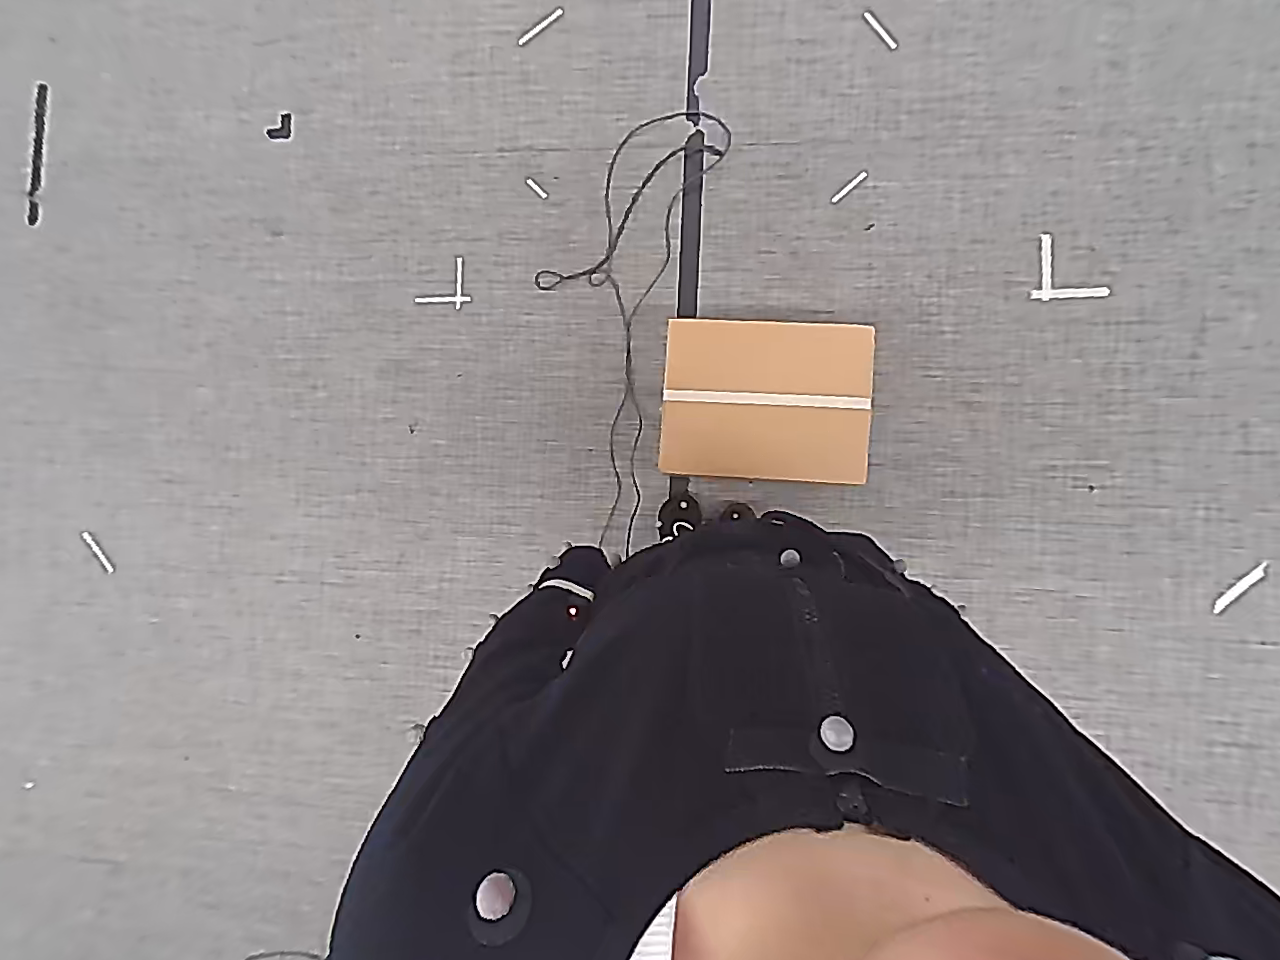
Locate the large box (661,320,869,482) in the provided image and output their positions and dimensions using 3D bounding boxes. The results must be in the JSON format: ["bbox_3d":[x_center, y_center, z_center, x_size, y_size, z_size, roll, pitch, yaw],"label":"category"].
[{"bbox_3d":[0.257,-0.159,1.225,0.408,0.320,0.320,4,91,5],"label":"large box"}]
